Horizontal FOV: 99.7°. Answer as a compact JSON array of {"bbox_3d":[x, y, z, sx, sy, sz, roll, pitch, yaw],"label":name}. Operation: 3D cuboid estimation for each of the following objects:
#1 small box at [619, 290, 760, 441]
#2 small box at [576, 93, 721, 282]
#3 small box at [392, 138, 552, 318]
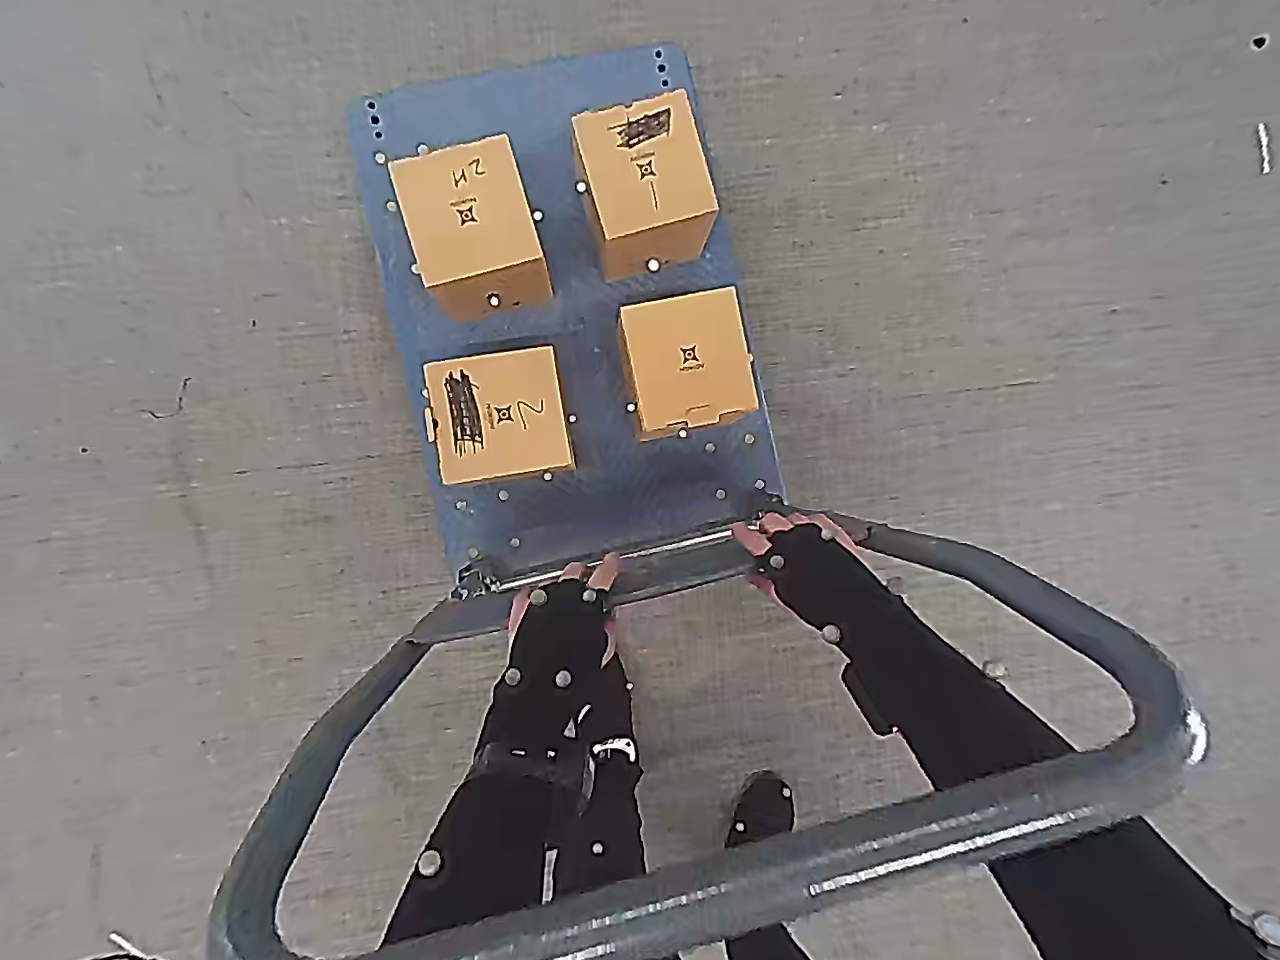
[{"bbox_3d":[0.065,-0.164,0.822,0.168,0.176,0.179,-12,91,-4],"label":"small box"},{"bbox_3d":[0.006,-0.428,0.817,0.168,0.176,0.179,-16,92,-3],"label":"small box"},{"bbox_3d":[-0.235,-0.355,0.801,0.168,0.176,0.179,-16,91,-5],"label":"small box"}]
